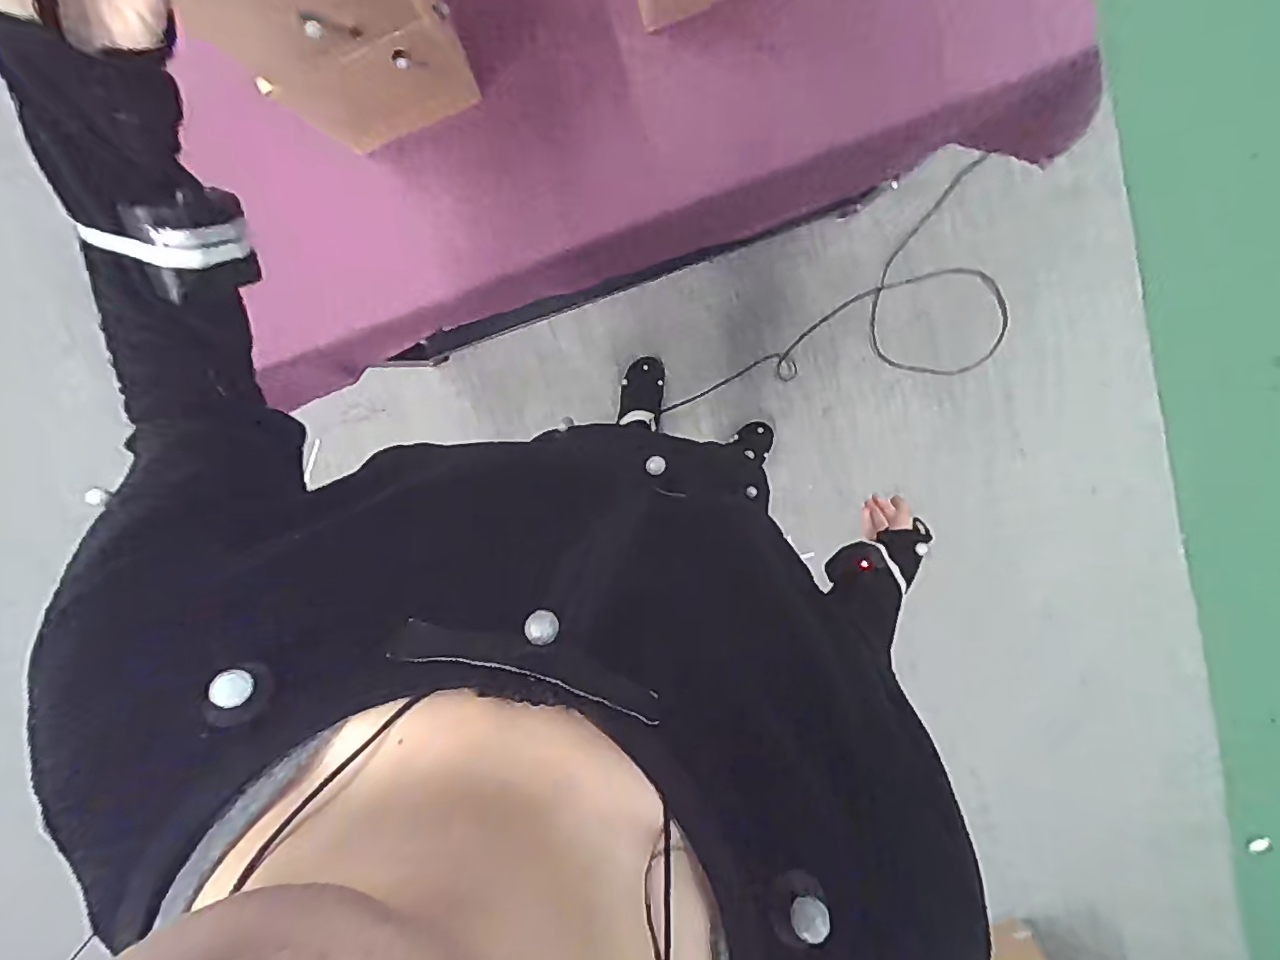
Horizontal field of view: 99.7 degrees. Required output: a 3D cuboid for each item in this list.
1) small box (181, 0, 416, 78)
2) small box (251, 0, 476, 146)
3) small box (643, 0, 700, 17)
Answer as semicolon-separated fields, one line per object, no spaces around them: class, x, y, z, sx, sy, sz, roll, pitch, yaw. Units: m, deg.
small box;-0.313;-0.474;0.422;0.168;0.176;0.179;-20;100;8
small box;-0.310;-0.502;0.585;0.179;0.176;0.168;-20;100;7
small box;0.061;-0.620;0.535;0.179;0.176;0.168;-18;101;7
